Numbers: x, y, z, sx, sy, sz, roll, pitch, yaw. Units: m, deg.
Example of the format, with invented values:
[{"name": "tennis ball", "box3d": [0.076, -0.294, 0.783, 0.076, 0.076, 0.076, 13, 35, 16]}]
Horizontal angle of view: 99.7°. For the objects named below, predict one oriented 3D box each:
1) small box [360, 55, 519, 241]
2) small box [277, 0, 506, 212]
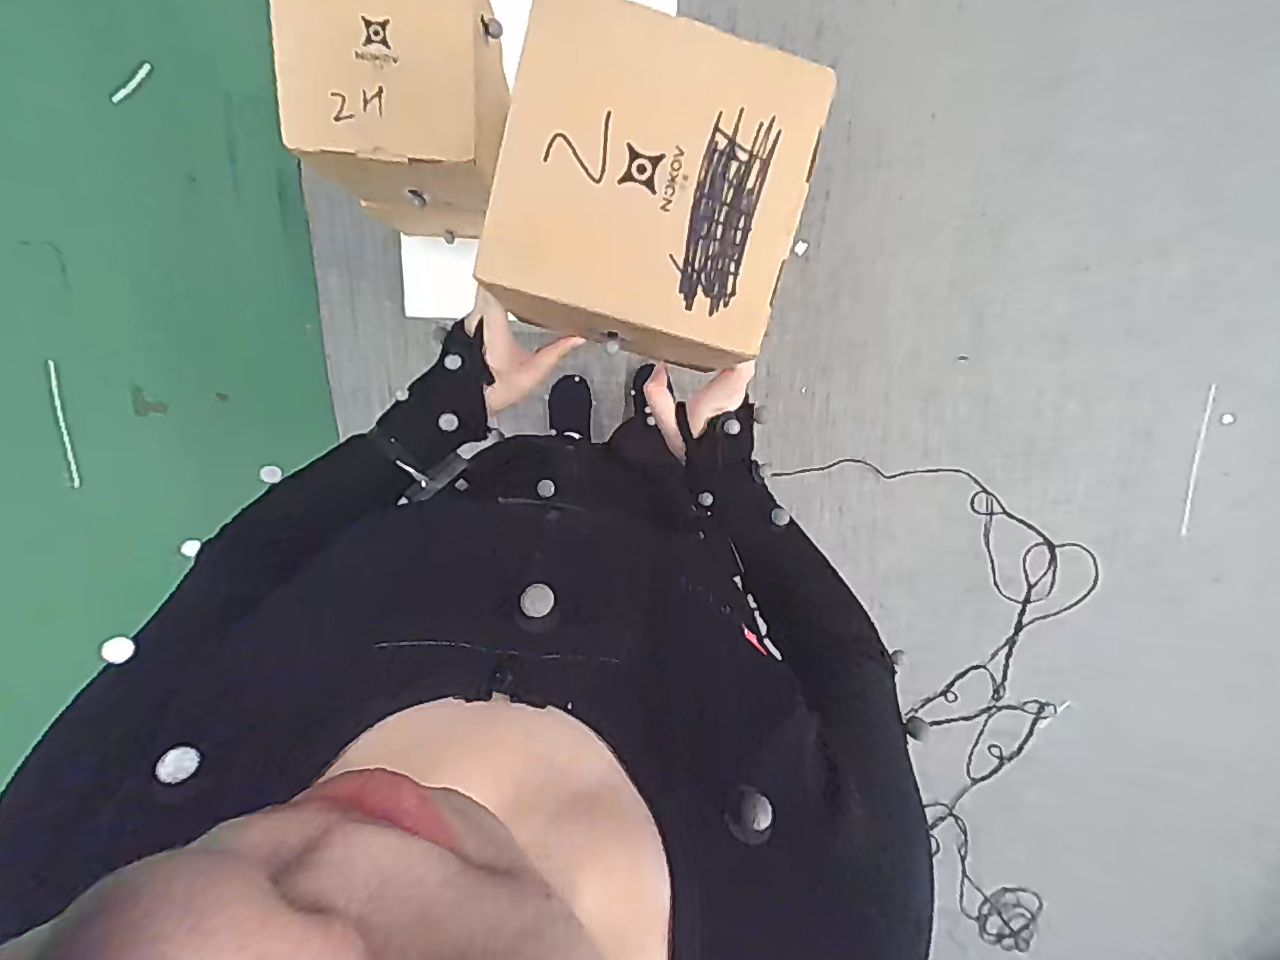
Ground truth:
[{"name": "small box", "box3d": [-0.251, -0.424, 0.700, 0.168, 0.176, 0.179, 1, 104, -6]}, {"name": "small box", "box3d": [-0.230, -0.389, 0.540, 0.168, 0.176, 0.179, 2, 103, -6]}]
